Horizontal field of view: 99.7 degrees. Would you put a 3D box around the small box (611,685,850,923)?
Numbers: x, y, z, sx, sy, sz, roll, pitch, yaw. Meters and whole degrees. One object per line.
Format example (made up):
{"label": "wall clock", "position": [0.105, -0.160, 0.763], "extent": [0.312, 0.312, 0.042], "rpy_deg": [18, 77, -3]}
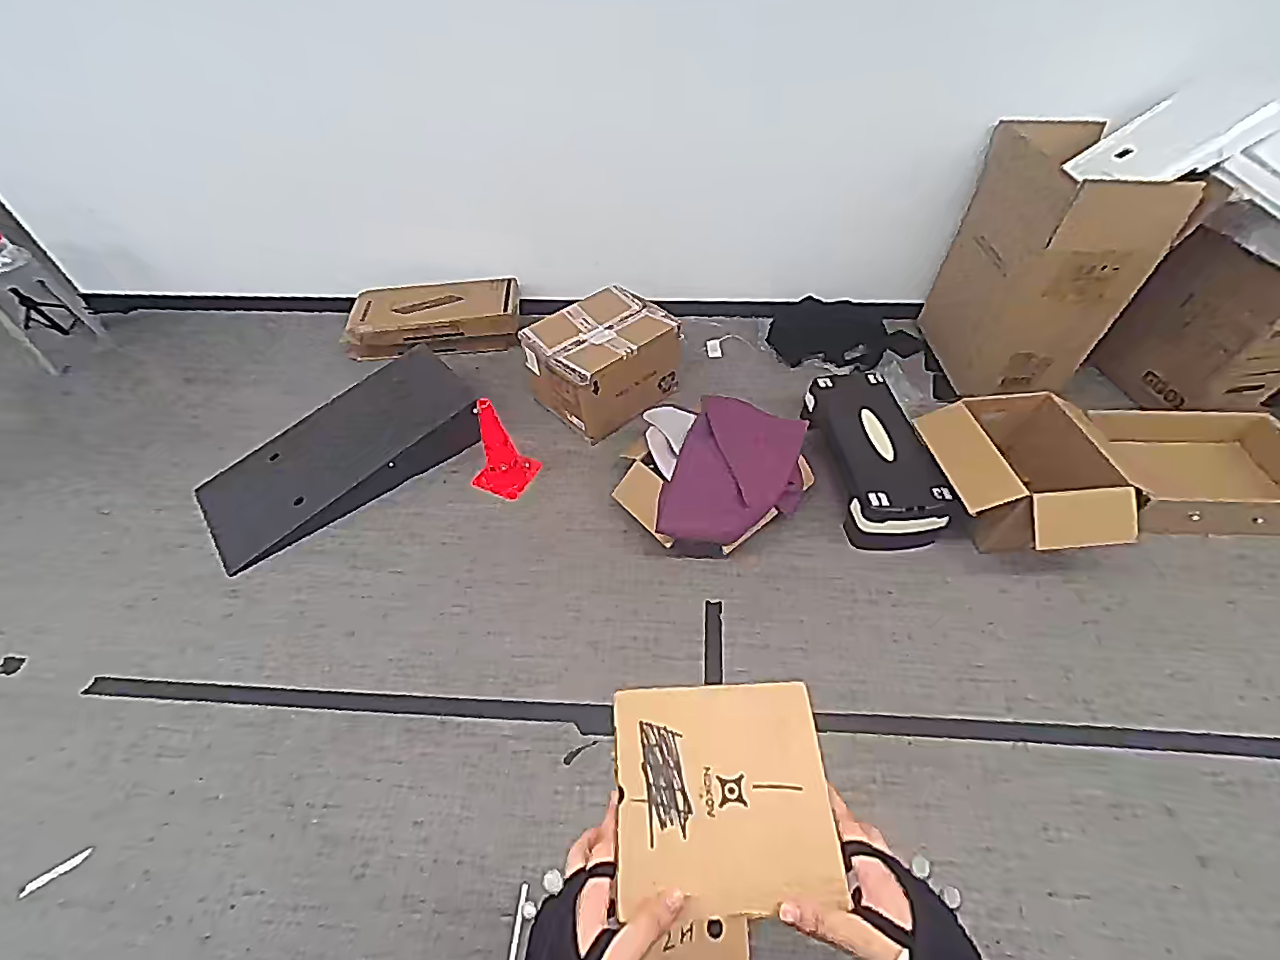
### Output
{"label": "small box", "position": [0.068, 0.300, 0.501], "extent": [0.179, 0.176, 0.168], "rpy_deg": [-3, 55, 0]}
